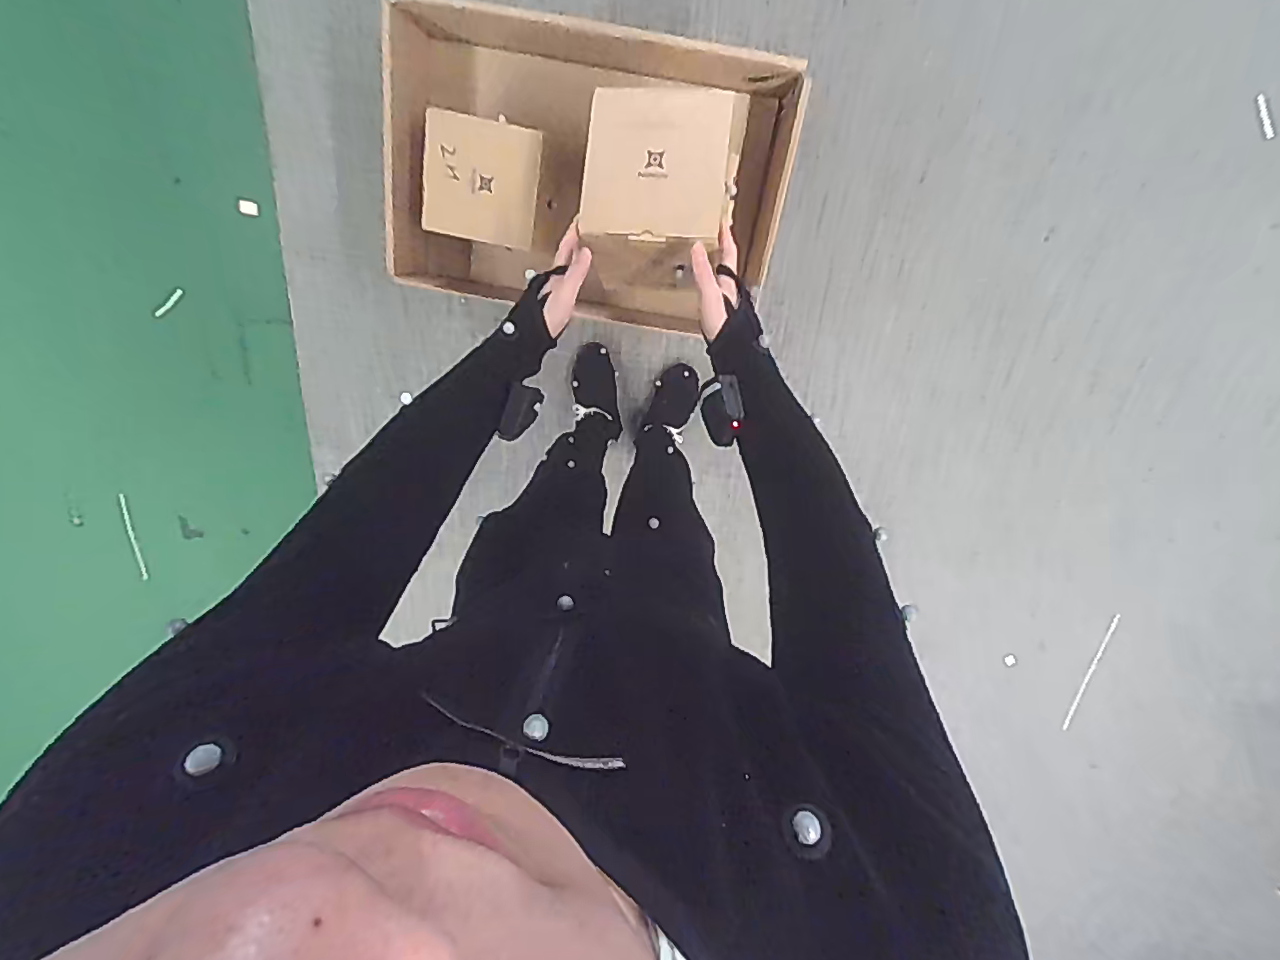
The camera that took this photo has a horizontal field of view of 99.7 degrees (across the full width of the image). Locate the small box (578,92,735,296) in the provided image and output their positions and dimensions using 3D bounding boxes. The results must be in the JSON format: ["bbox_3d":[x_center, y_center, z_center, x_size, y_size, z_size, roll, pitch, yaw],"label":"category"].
[{"bbox_3d":[0.028,-0.355,0.699,0.168,0.176,0.179,7,86,7],"label":"small box"}]
